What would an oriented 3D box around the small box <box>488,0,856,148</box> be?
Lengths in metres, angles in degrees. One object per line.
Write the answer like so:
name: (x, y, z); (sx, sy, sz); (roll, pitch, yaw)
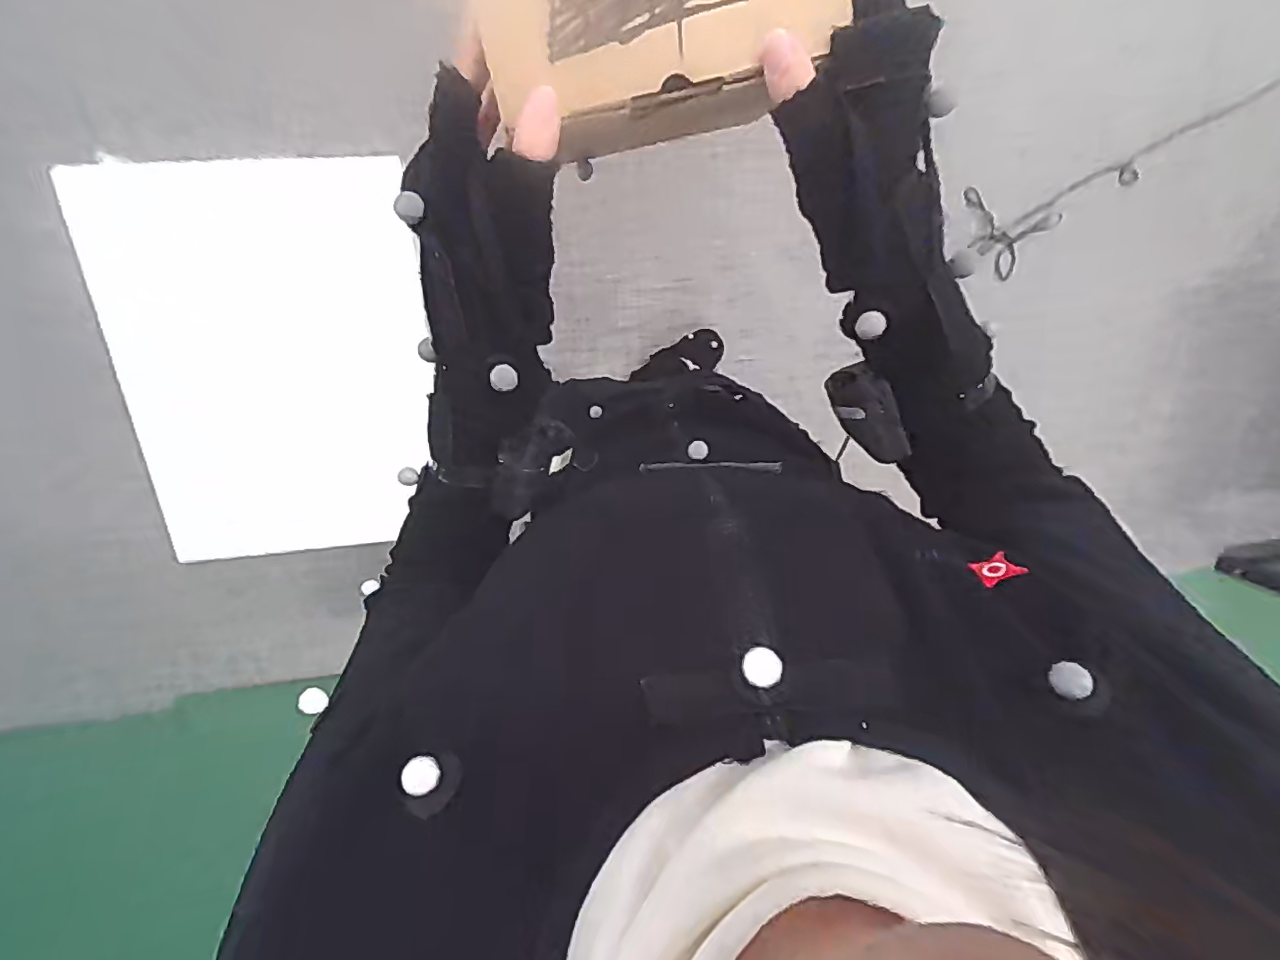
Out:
small box: (0.003, -0.295, 0.290); (0.168, 0.176, 0.179); (-11, 114, 1)
